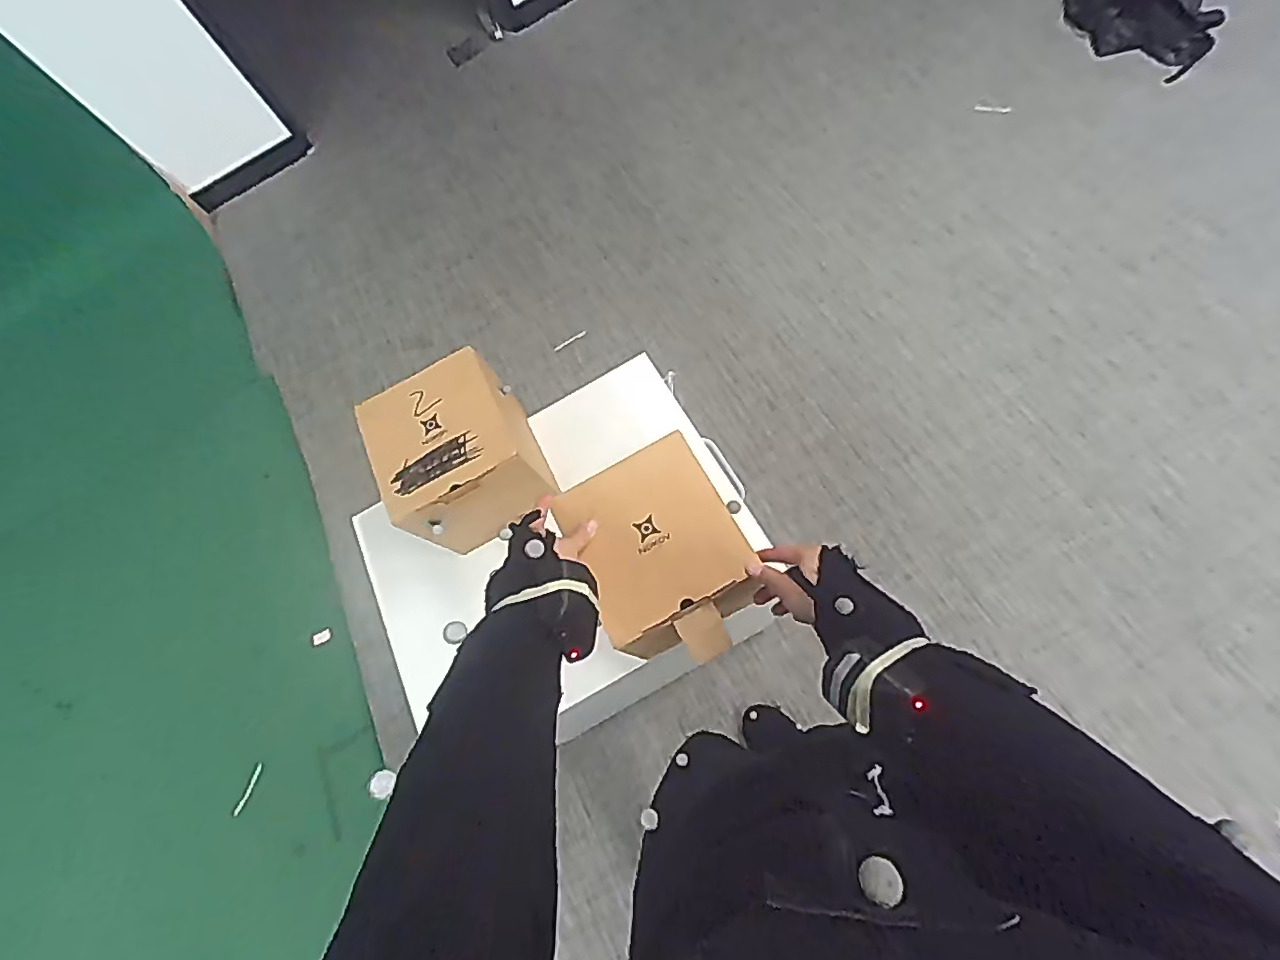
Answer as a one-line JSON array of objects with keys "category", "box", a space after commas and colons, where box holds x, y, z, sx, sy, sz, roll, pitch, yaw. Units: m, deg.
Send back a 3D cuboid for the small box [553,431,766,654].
[{"category": "small box", "box": [0.026, 0.081, 0.619, 0.168, 0.176, 0.179, -29, 66, 0]}]
